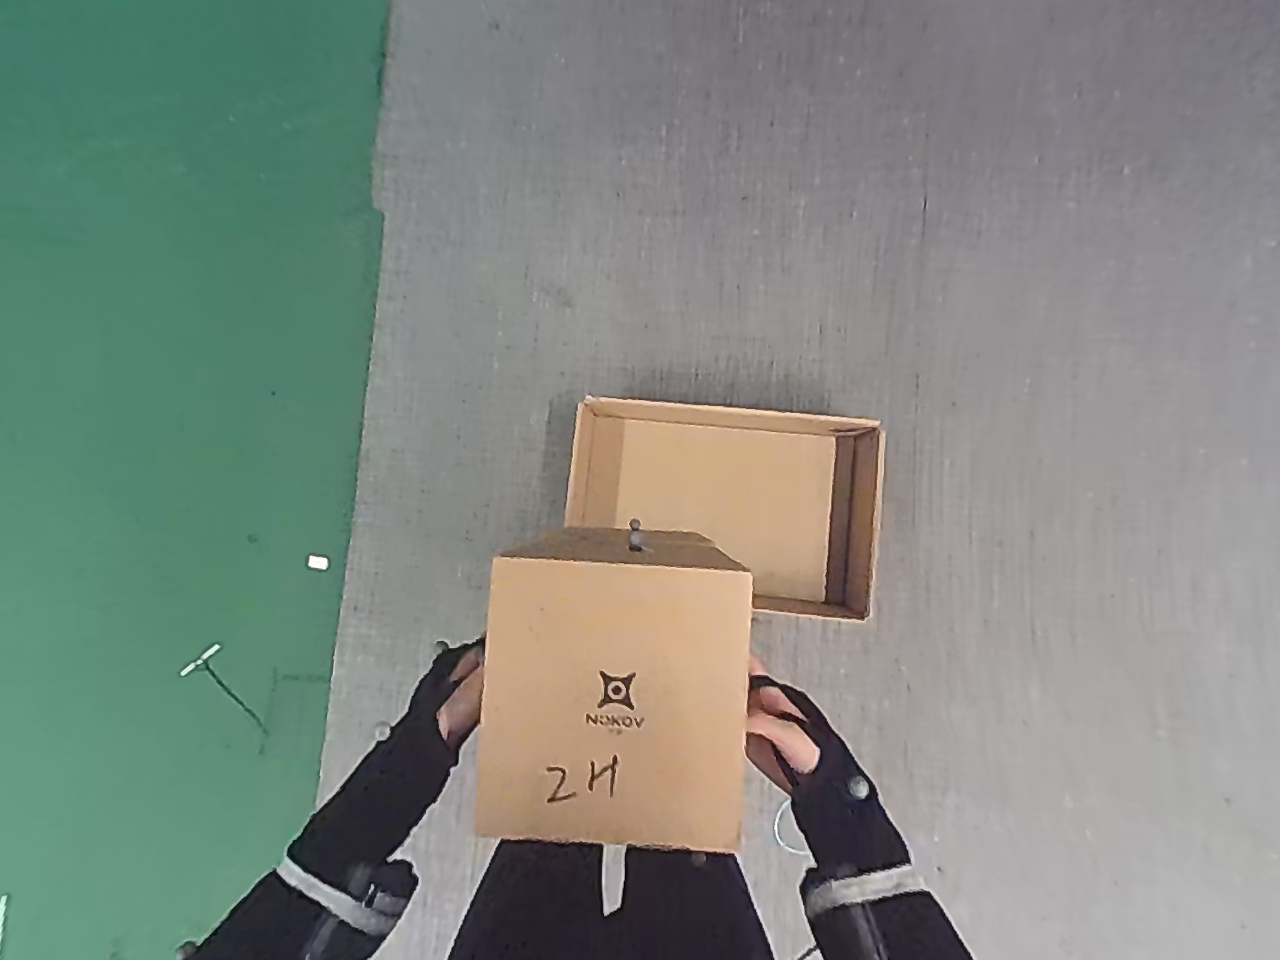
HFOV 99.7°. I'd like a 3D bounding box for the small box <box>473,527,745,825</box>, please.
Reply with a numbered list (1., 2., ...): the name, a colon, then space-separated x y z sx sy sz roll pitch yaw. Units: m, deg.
1. small box: -0.018 0.130 0.426 0.168 0.176 0.179 4 88 2
